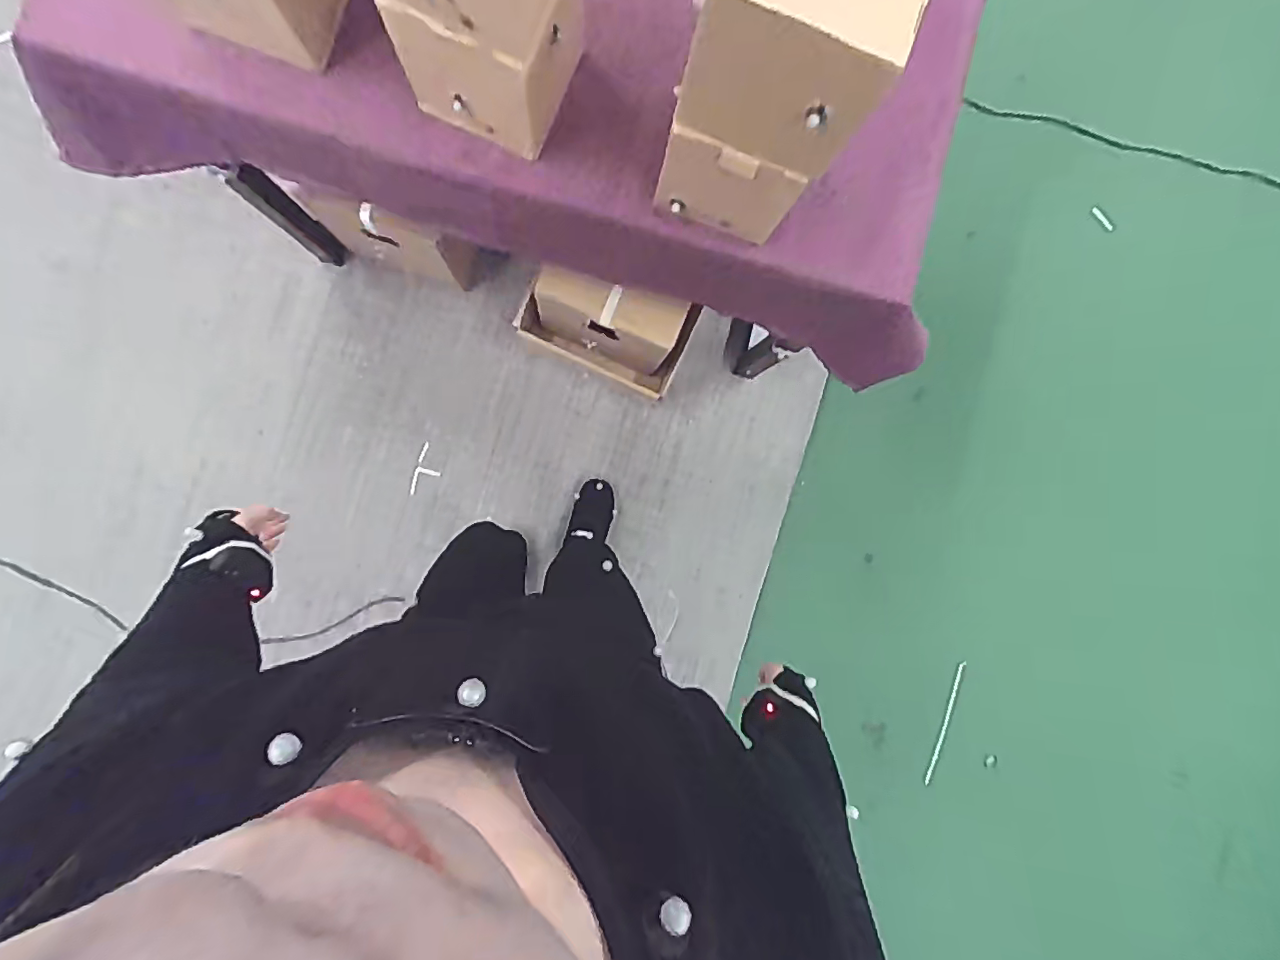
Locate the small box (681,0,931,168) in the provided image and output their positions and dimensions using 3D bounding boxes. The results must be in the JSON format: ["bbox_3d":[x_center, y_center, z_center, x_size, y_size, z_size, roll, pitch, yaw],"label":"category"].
[{"bbox_3d":[0.156,-0.439,0.517,0.179,0.176,0.168,19,88,-6],"label":"small box"}]

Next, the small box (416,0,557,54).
[{"bbox_3d":[-0.146,-0.551,0.482,0.168,0.176,0.179,24,89,-6],"label":"small box"}]

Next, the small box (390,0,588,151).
[{"bbox_3d":[-0.167,-0.548,0.646,0.168,0.176,0.179,23,90,-6],"label":"small box"}]

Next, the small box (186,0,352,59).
[{"bbox_3d":[-0.451,-0.633,0.610,0.179,0.176,0.168,18,90,-6],"label":"small box"}]

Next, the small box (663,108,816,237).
[{"bbox_3d":[0.134,-0.441,0.679,0.168,0.176,0.179,18,88,-6],"label":"small box"}]
